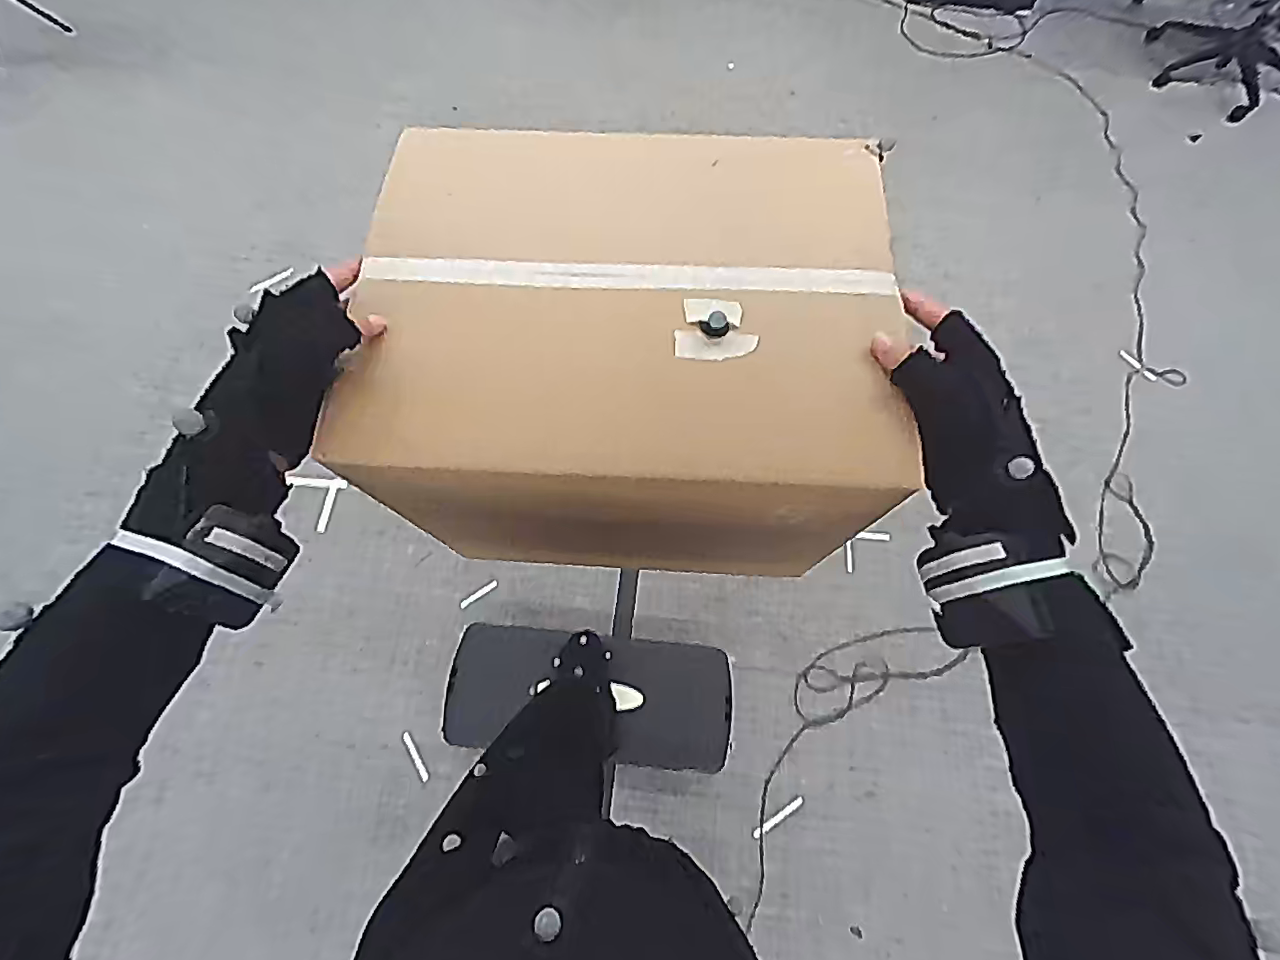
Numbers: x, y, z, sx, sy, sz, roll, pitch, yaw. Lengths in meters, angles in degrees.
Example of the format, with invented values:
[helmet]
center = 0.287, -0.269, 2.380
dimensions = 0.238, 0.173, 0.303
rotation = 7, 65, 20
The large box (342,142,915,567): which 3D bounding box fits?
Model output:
[large box]
center = -0.004, -0.097, 0.560
dimensions = 0.408, 0.320, 0.320
rotation = 3, 70, 1
